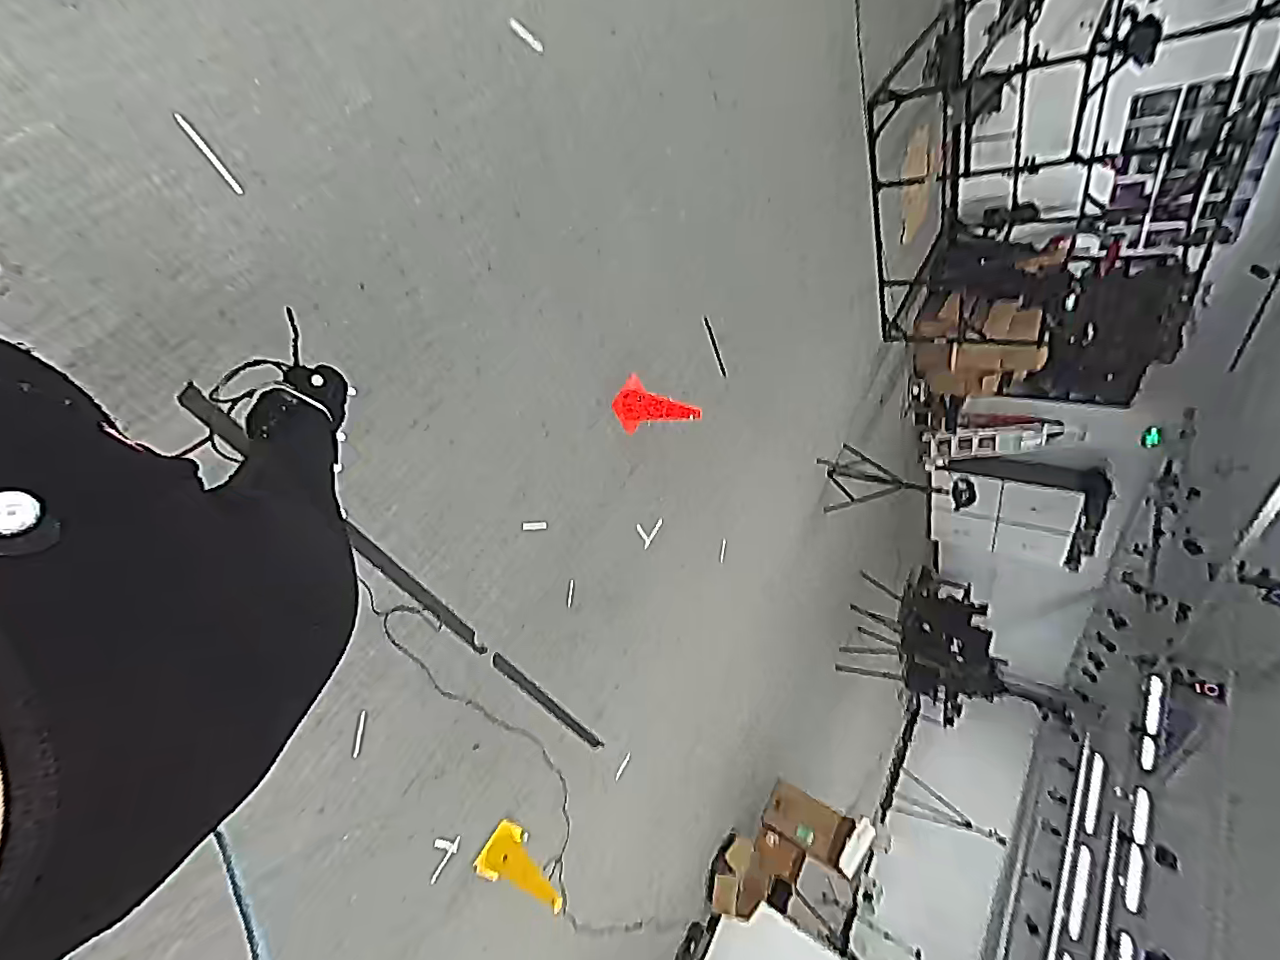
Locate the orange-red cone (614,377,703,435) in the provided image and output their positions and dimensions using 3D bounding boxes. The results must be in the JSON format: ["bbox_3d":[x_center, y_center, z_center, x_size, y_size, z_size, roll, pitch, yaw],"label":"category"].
[{"bbox_3d":[0.101,-0.294,2.253,0.198,0.360,0.199,-58,138,-24],"label":"orange-red cone"}]
